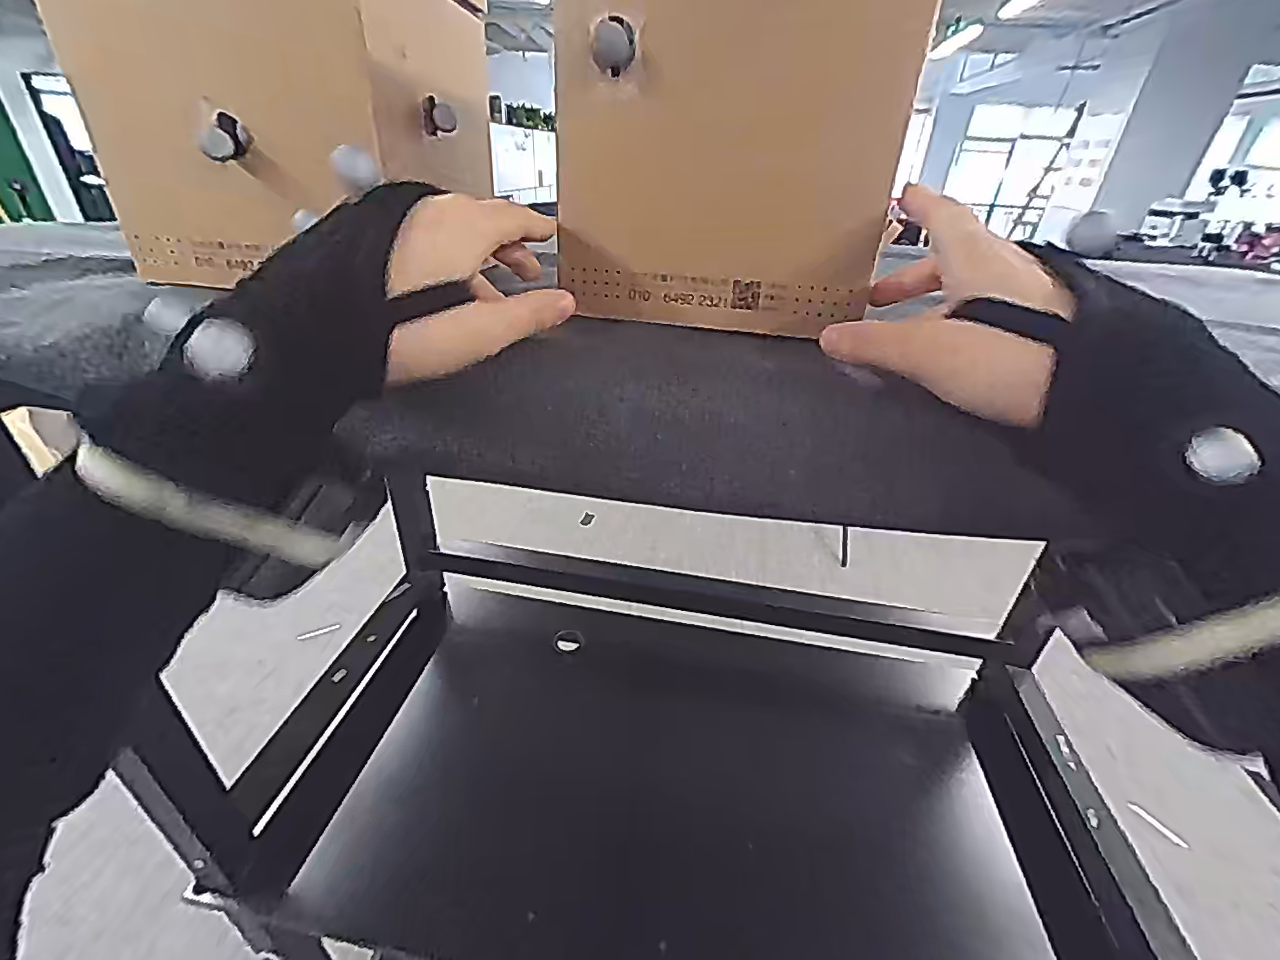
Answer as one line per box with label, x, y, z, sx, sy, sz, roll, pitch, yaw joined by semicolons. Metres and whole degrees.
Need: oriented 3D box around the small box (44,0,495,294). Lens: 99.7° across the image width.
small box;-0.201;-0.225;0.351;0.168;0.176;0.179;6;30;3
